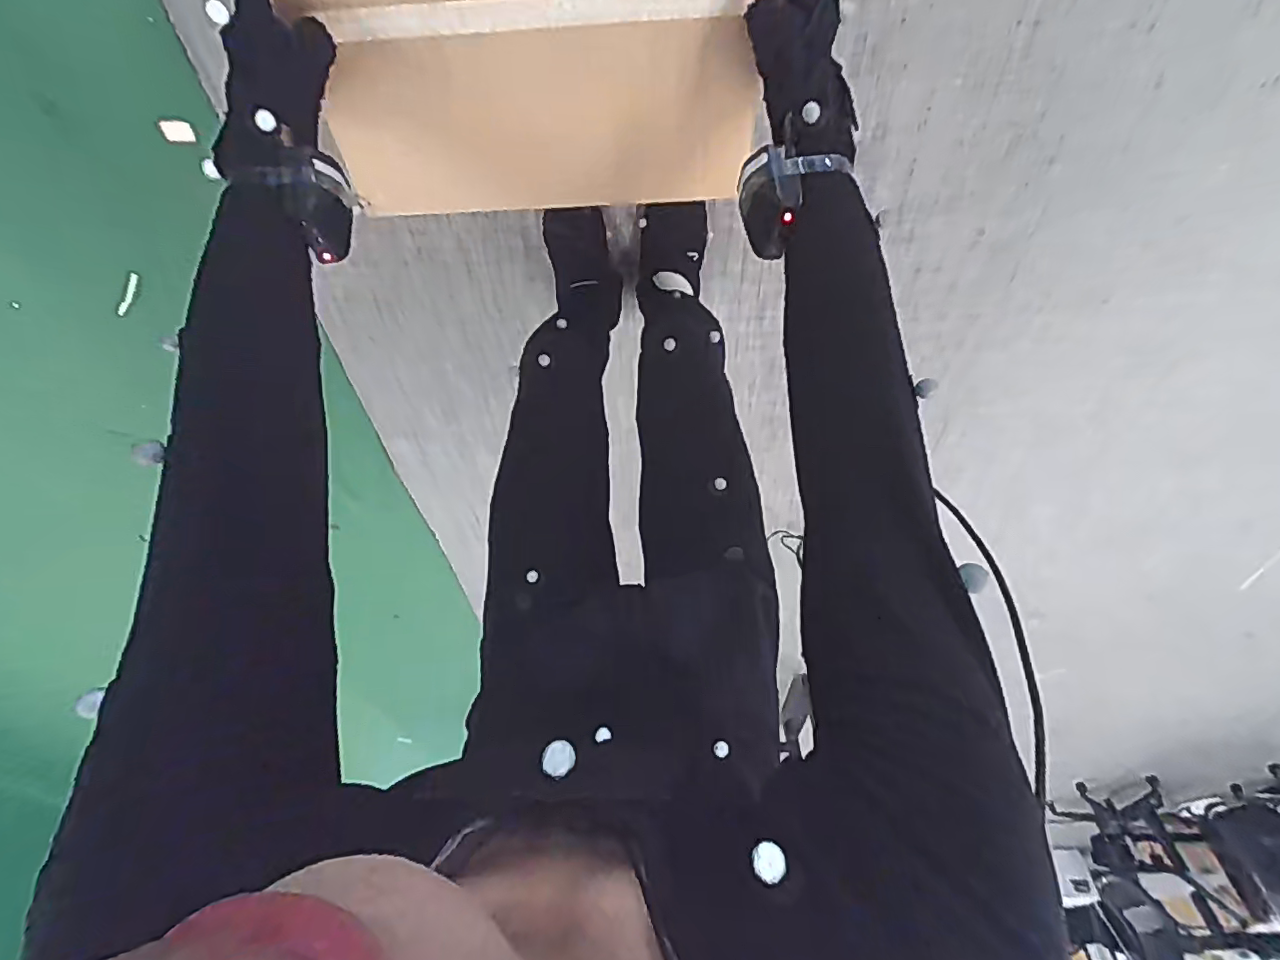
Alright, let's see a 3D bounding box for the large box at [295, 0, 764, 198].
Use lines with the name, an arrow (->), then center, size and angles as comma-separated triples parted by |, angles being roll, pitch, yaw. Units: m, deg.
large box -> -0.092, -0.519, 0.549 | 0.408, 0.320, 0.320 | -2, 138, 1
